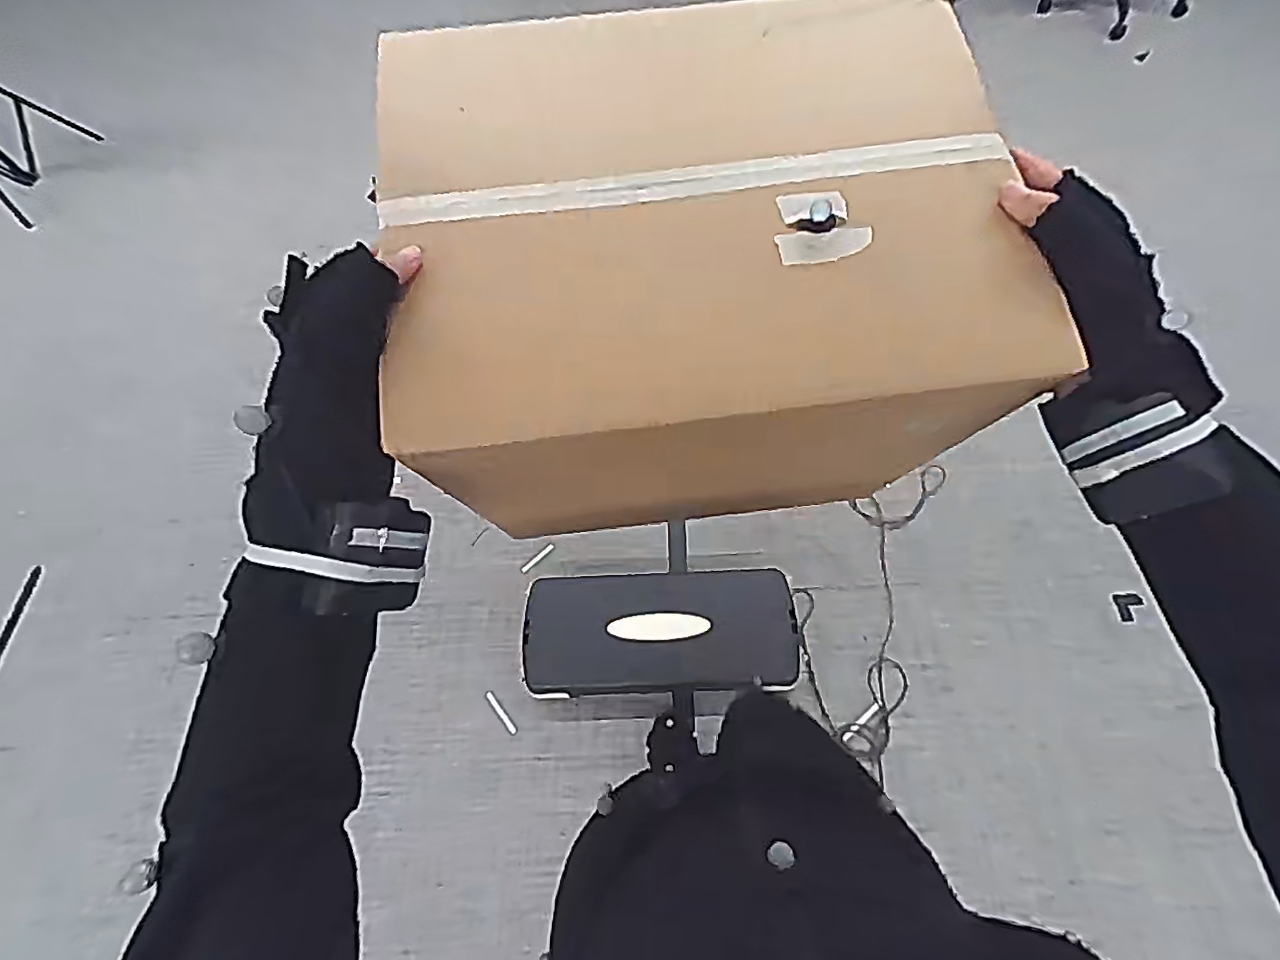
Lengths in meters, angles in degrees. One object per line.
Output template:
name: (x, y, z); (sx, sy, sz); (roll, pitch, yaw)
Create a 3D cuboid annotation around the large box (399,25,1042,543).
large box: (0.035, -0.140, 0.513); (0.408, 0.320, 0.320); (-7, 75, -2)
